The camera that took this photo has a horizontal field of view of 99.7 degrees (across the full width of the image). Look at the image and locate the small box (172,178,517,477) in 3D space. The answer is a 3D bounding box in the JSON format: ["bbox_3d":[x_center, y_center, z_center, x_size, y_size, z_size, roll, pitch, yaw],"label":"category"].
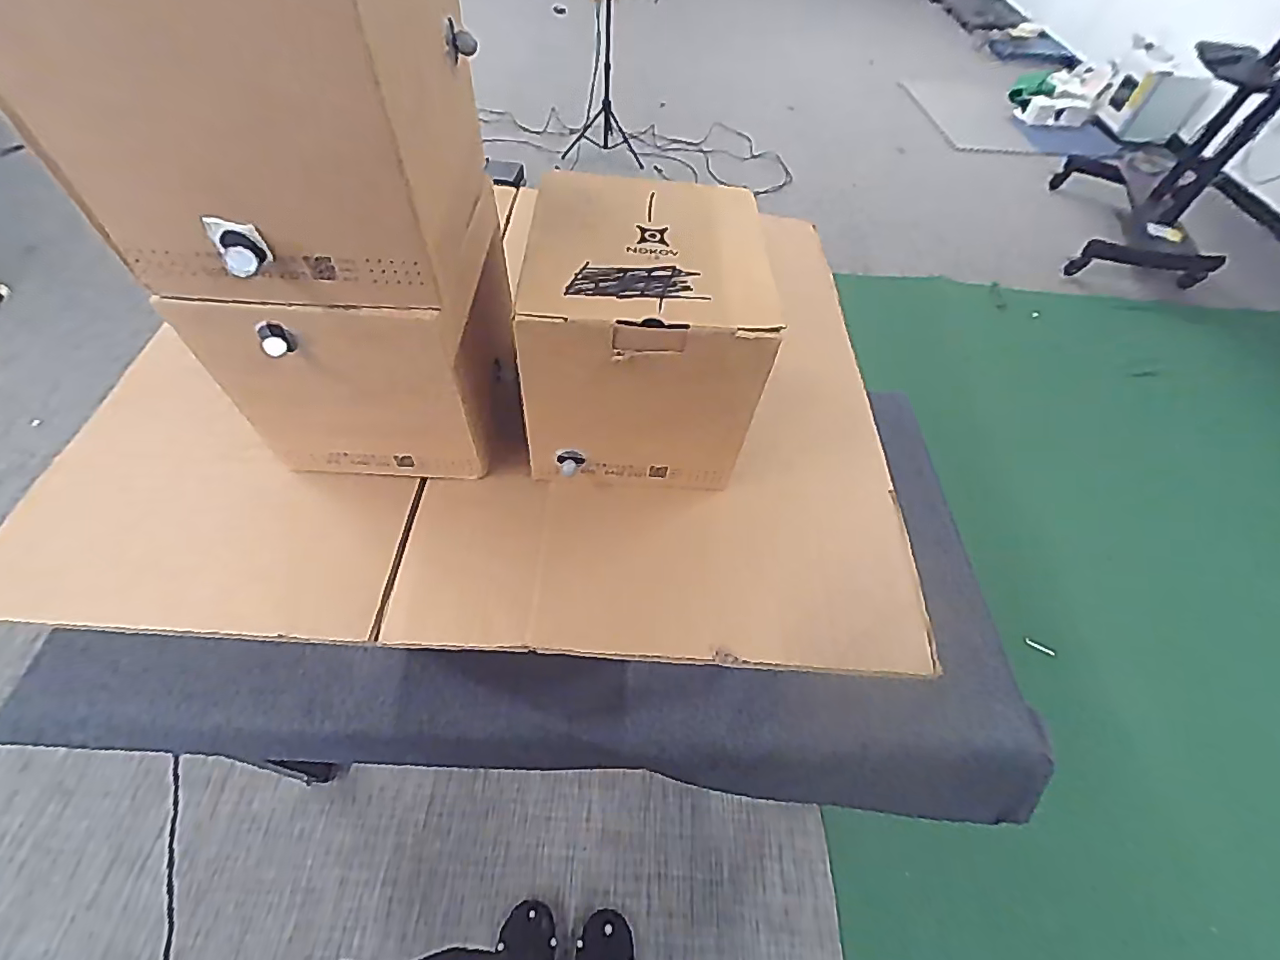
[{"bbox_3d":[-0.202,-0.125,0.438,0.168,0.176,0.179,3,54,-1],"label":"small box"}]

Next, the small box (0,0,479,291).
[{"bbox_3d":[-0.191,-0.229,0.294,0.168,0.176,0.179,0,56,-4],"label":"small box"}]
